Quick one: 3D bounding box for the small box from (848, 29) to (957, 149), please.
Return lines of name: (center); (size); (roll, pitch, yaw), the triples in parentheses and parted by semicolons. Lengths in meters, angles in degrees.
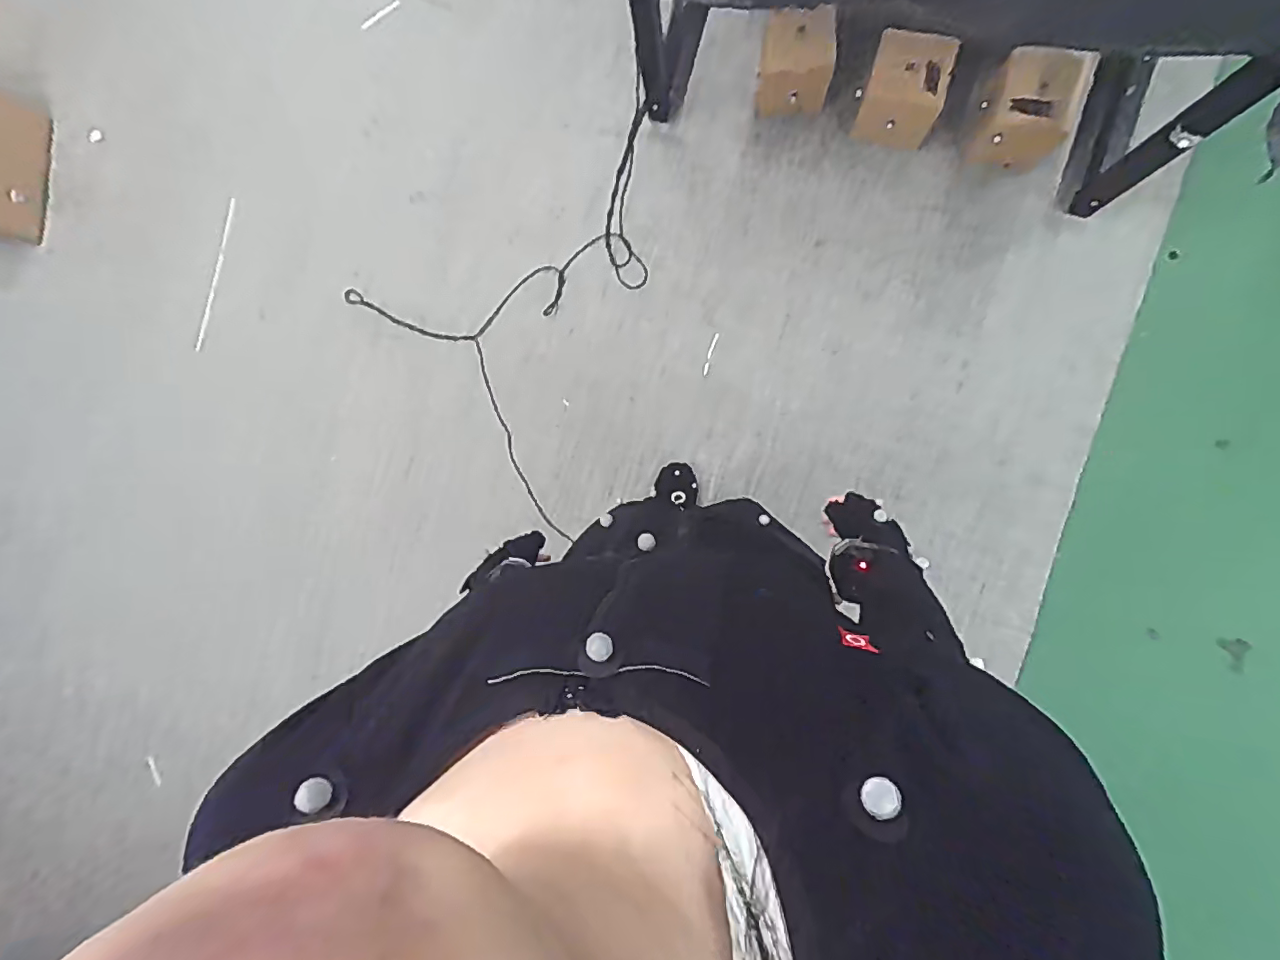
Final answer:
small box: (0.639, -0.956, 1.337); (0.179, 0.176, 0.168); (15, 92, 7)
